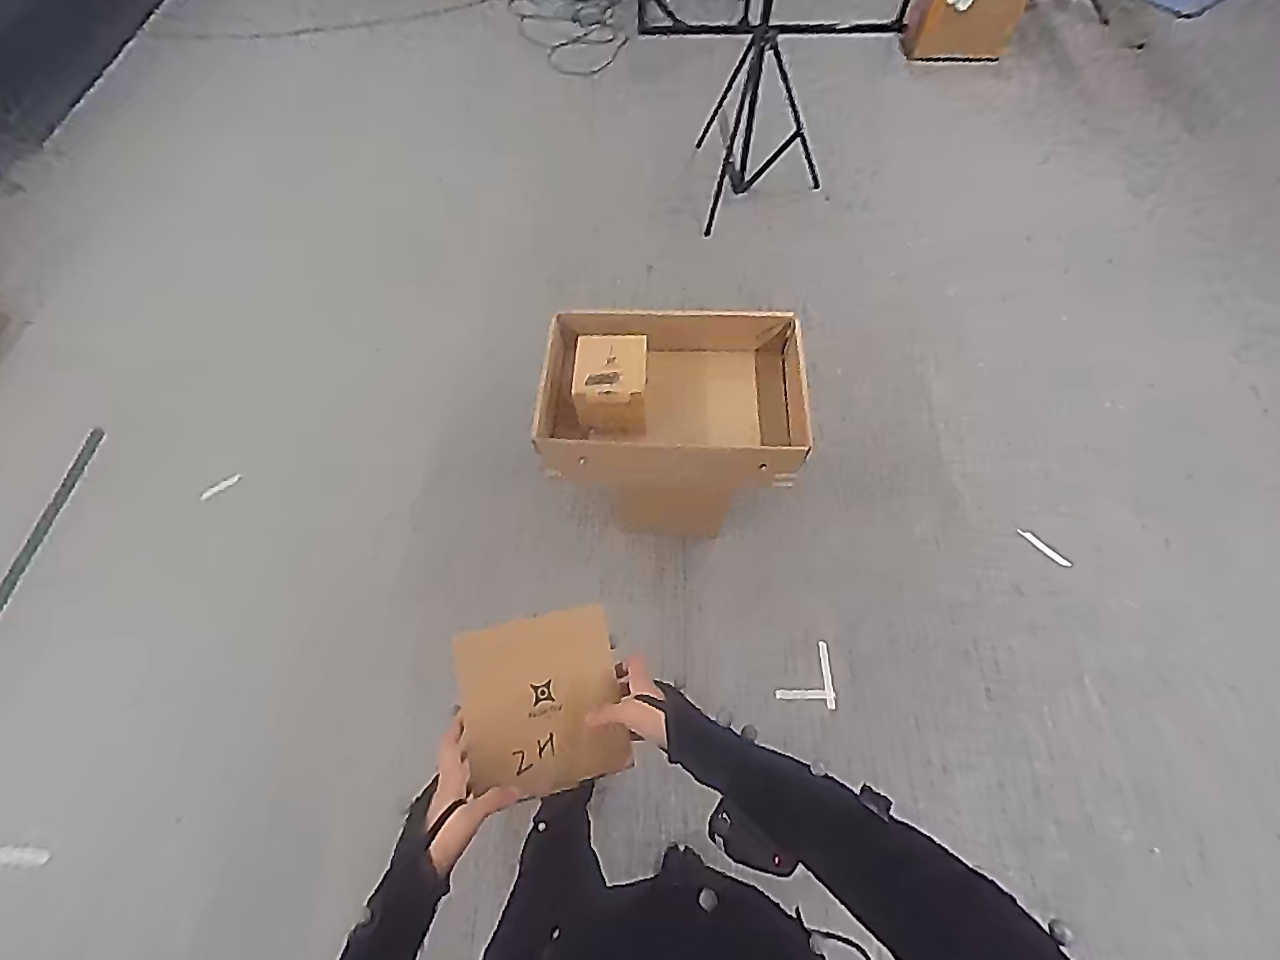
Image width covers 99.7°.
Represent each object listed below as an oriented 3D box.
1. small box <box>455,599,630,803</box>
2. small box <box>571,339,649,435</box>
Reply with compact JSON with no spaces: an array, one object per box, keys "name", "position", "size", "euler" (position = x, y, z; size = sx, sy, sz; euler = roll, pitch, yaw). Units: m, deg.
[{"name":"small box","position":[-0.120,0.254,0.647],"size":[0.168,0.176,0.179],"euler":[-9,73,-14]},{"name":"small box","position":[-0.065,-0.221,1.314],"size":[0.168,0.176,0.179],"euler":[0,62,3]}]
